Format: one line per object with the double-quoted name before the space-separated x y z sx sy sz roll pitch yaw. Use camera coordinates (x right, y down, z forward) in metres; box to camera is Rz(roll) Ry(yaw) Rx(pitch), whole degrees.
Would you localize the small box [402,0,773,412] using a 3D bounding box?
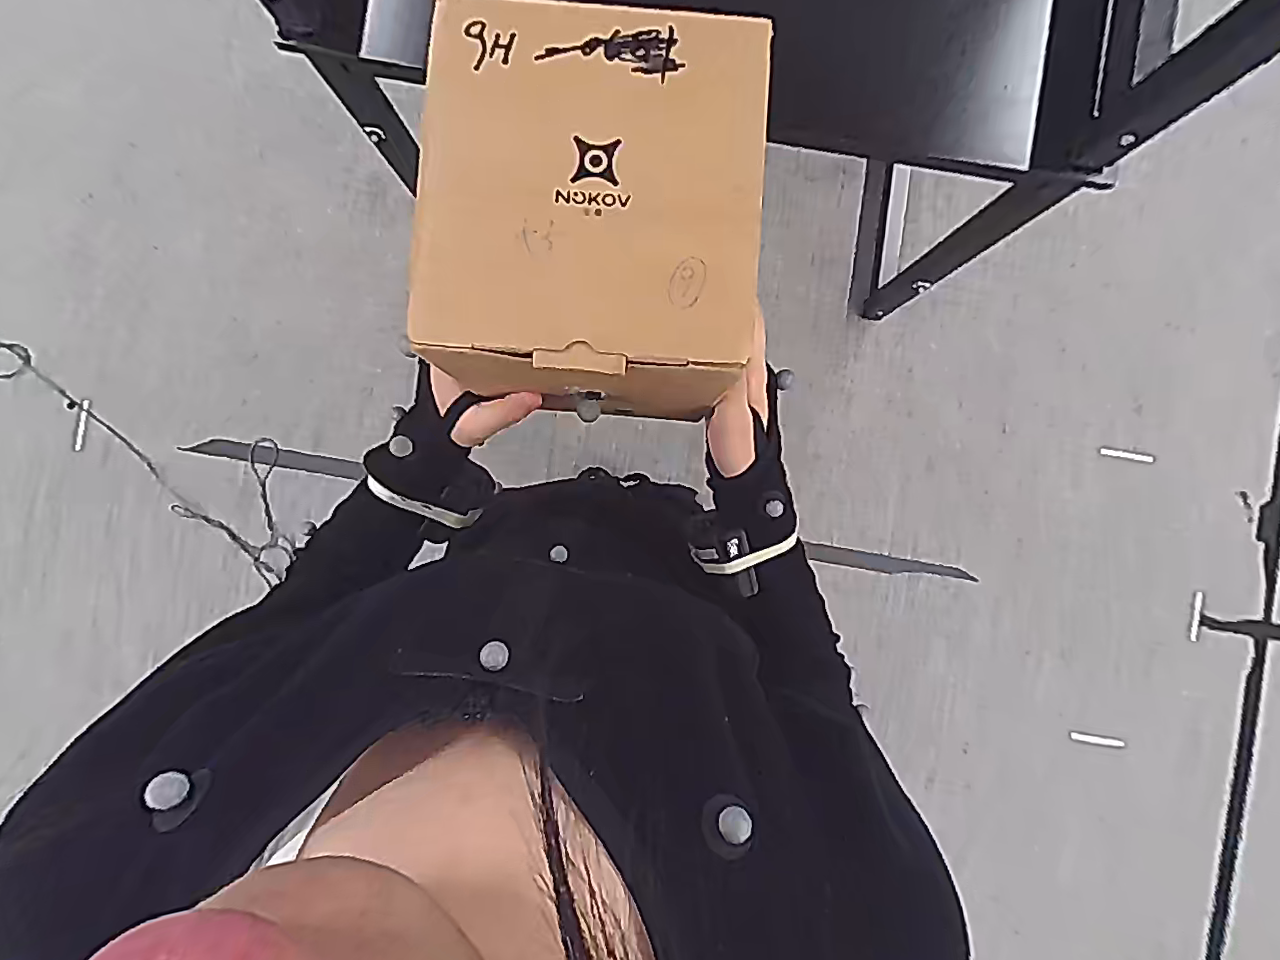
"small box" -0.027 -0.140 0.332 0.168 0.176 0.179 4 89 -3
